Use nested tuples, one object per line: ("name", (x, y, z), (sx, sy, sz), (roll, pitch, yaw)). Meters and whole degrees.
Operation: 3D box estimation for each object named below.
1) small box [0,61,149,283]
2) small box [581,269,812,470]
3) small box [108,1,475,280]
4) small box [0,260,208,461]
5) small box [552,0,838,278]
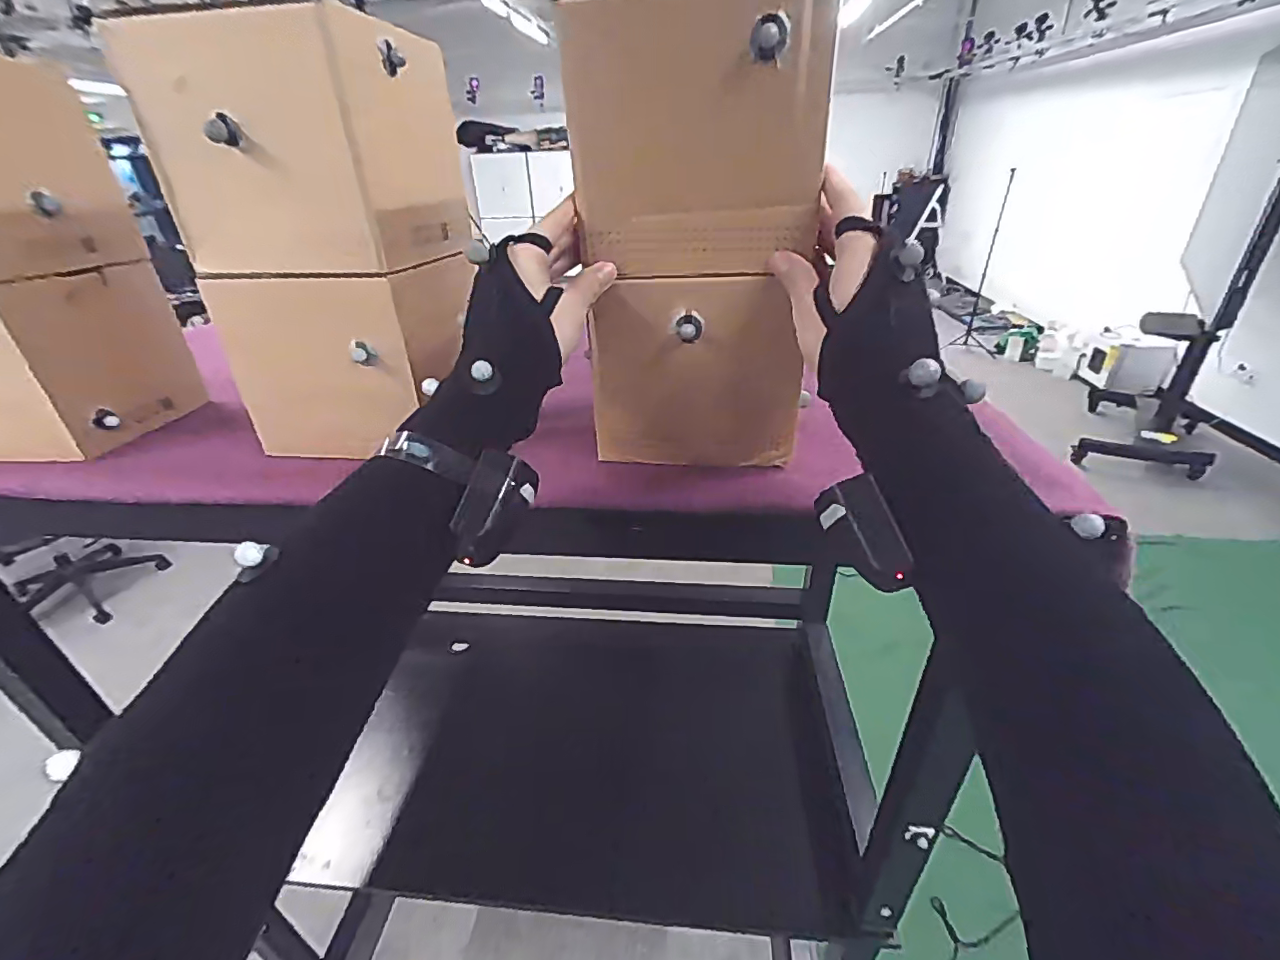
("small box", (-0.619, -0.271, 0.484), (0.179, 0.176, 0.168), (1, 30, 6))
("small box", (0.056, -0.120, 0.507), (0.179, 0.176, 0.168), (3, 32, 9))
("small box", (-0.267, -0.272, 0.464), (0.179, 0.176, 0.168), (2, 30, 8))
("small box", (-0.615, -0.127, 0.565), (0.179, 0.176, 0.168), (0, 30, 5))
("small box", (0.049, -0.259, 0.425), (0.179, 0.176, 0.168), (4, 33, 11))
